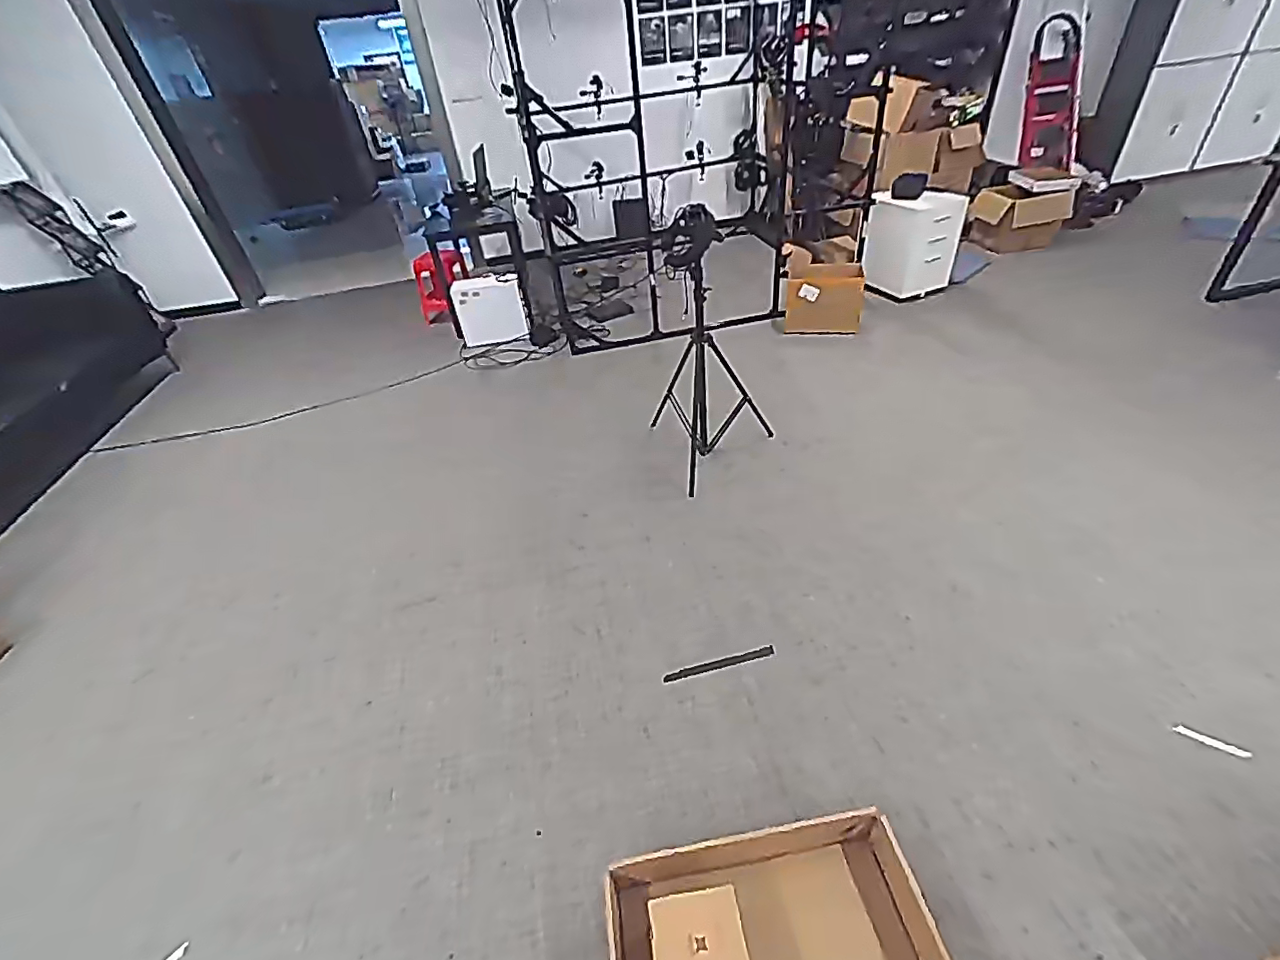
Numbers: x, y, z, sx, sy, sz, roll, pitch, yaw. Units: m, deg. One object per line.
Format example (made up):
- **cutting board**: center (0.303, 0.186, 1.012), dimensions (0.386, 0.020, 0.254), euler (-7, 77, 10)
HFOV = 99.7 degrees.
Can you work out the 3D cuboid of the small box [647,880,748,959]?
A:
- **small box**: center (0.115, 0.933, 1.077), dimensions (0.179, 0.176, 0.168), euler (-8, 41, -4)
